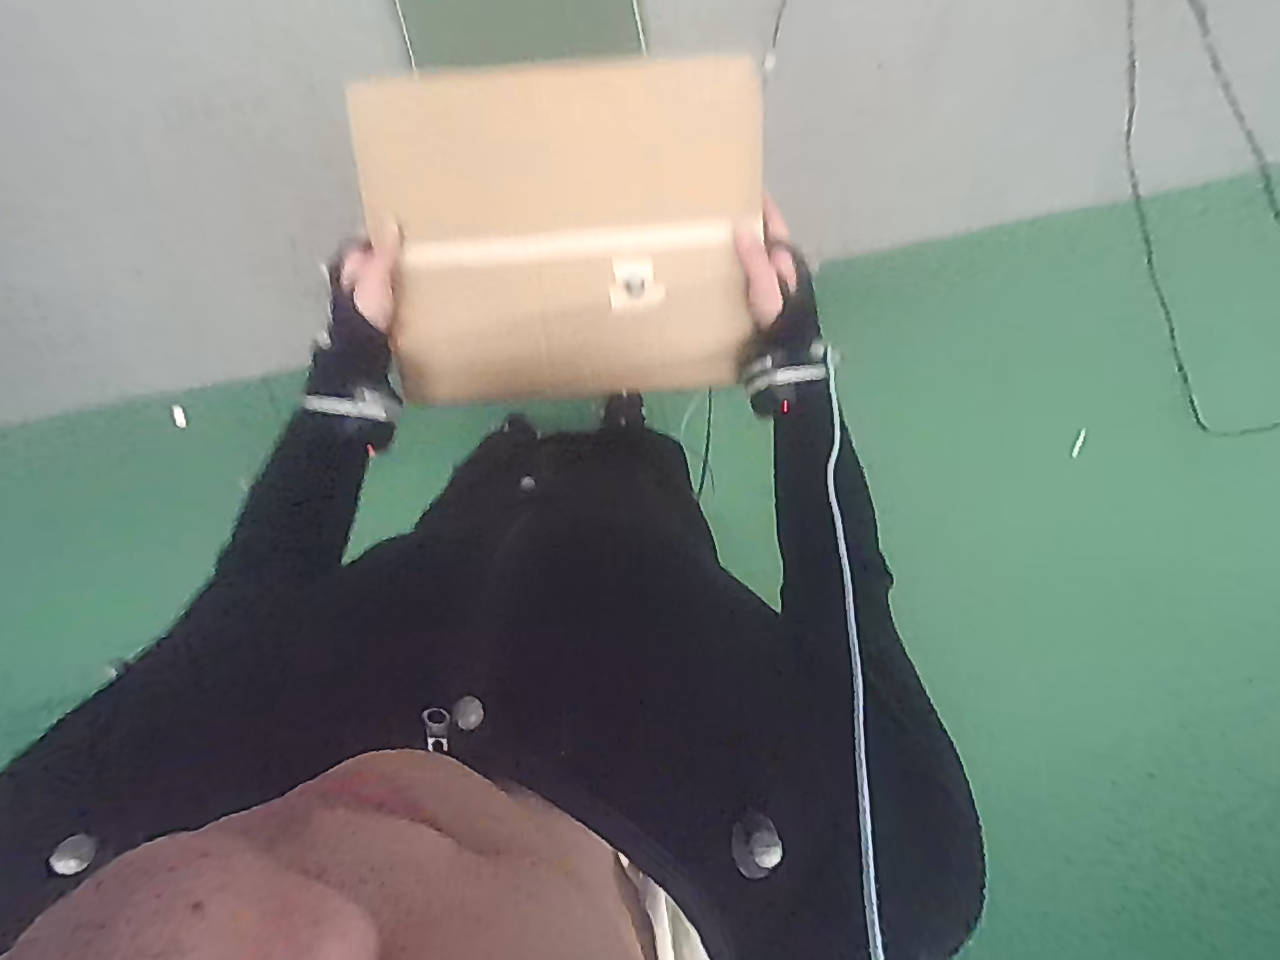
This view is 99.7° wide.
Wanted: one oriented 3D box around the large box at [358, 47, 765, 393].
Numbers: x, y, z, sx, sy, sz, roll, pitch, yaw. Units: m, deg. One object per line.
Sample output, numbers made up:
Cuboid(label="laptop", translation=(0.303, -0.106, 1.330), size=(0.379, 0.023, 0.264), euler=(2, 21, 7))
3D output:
Cuboid(label="large box", translation=(-0.073, -0.301, 0.710), size=(0.408, 0.320, 0.320), euler=(-4, 107, 0))
